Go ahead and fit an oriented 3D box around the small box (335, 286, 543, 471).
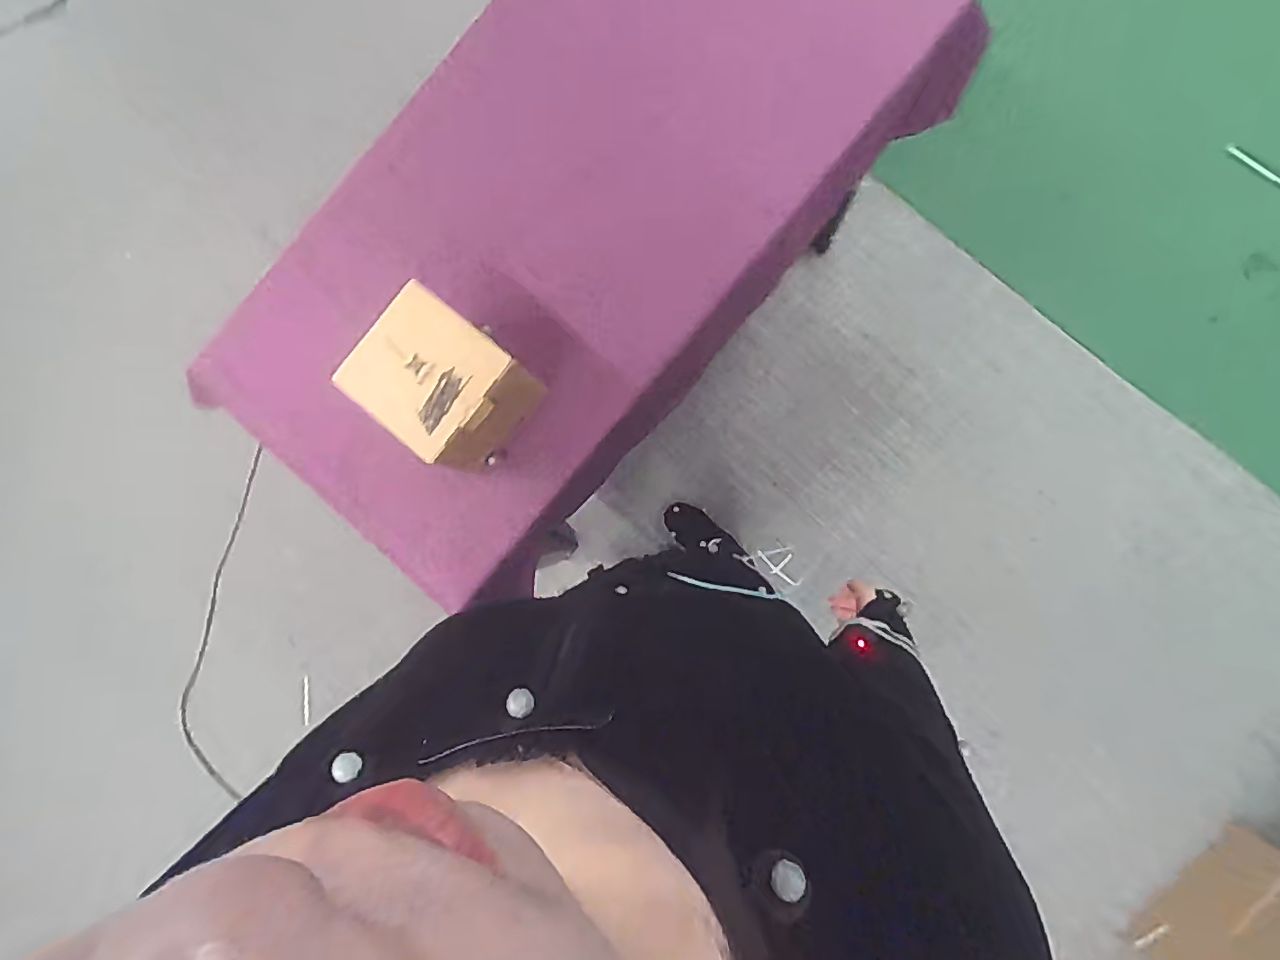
[{"bbox_3d":[-0.262,-0.126,0.749,0.179,0.176,0.168,39,90,8],"label":"small box"}]
